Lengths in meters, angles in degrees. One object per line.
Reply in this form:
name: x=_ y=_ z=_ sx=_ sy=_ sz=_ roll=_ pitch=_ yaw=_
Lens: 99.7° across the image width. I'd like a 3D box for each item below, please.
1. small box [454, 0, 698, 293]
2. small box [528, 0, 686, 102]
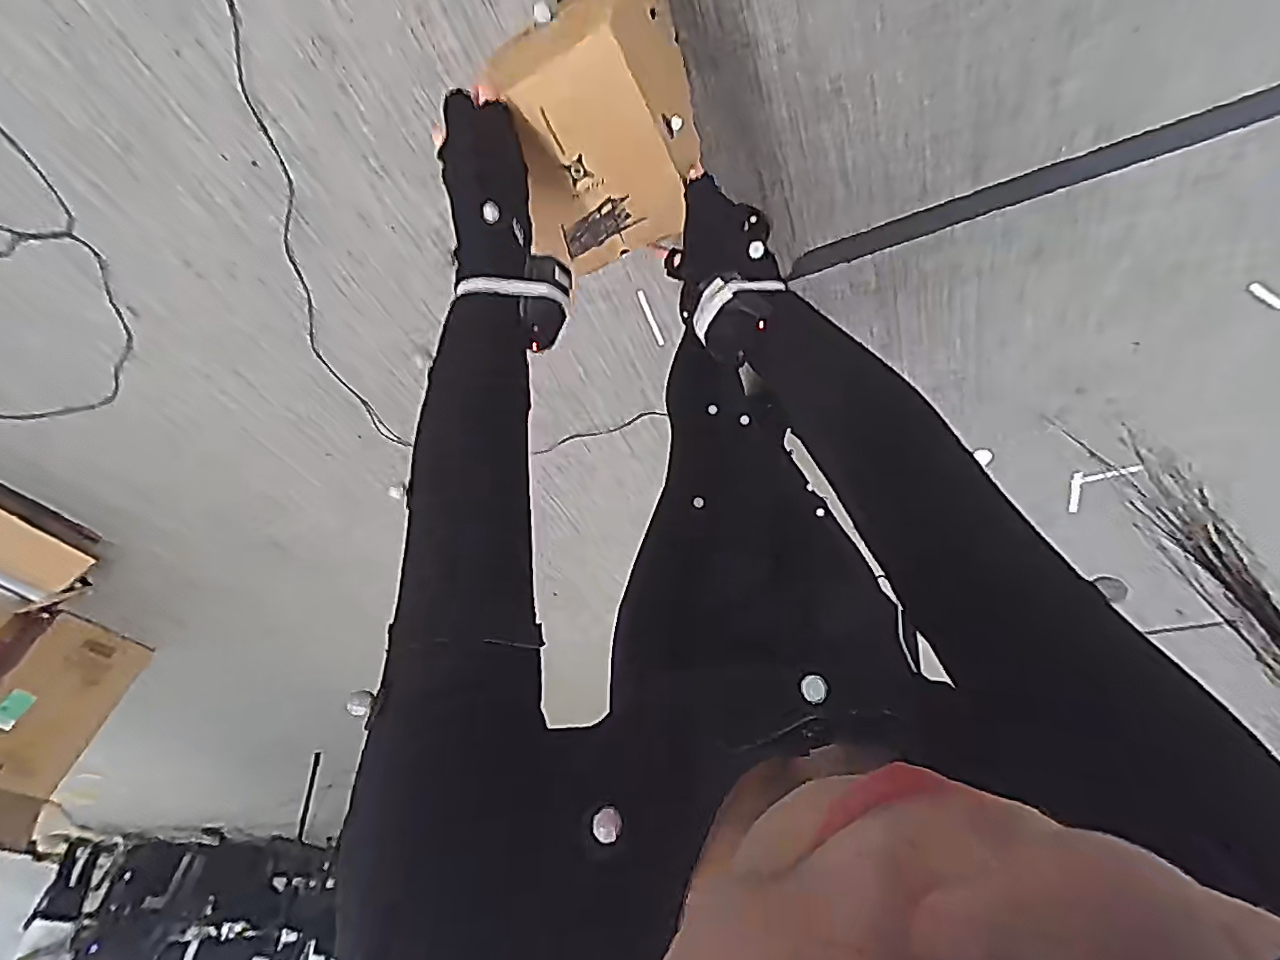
small box: x=-0.048 y=-0.332 z=0.542 sx=0.168 sy=0.176 sz=0.179 roll=-15 pitch=142 yaw=26
small box: x=-0.036 y=-0.602 z=0.788 sx=0.179 sy=0.176 sz=0.168 roll=-14 pitch=134 yaw=17
